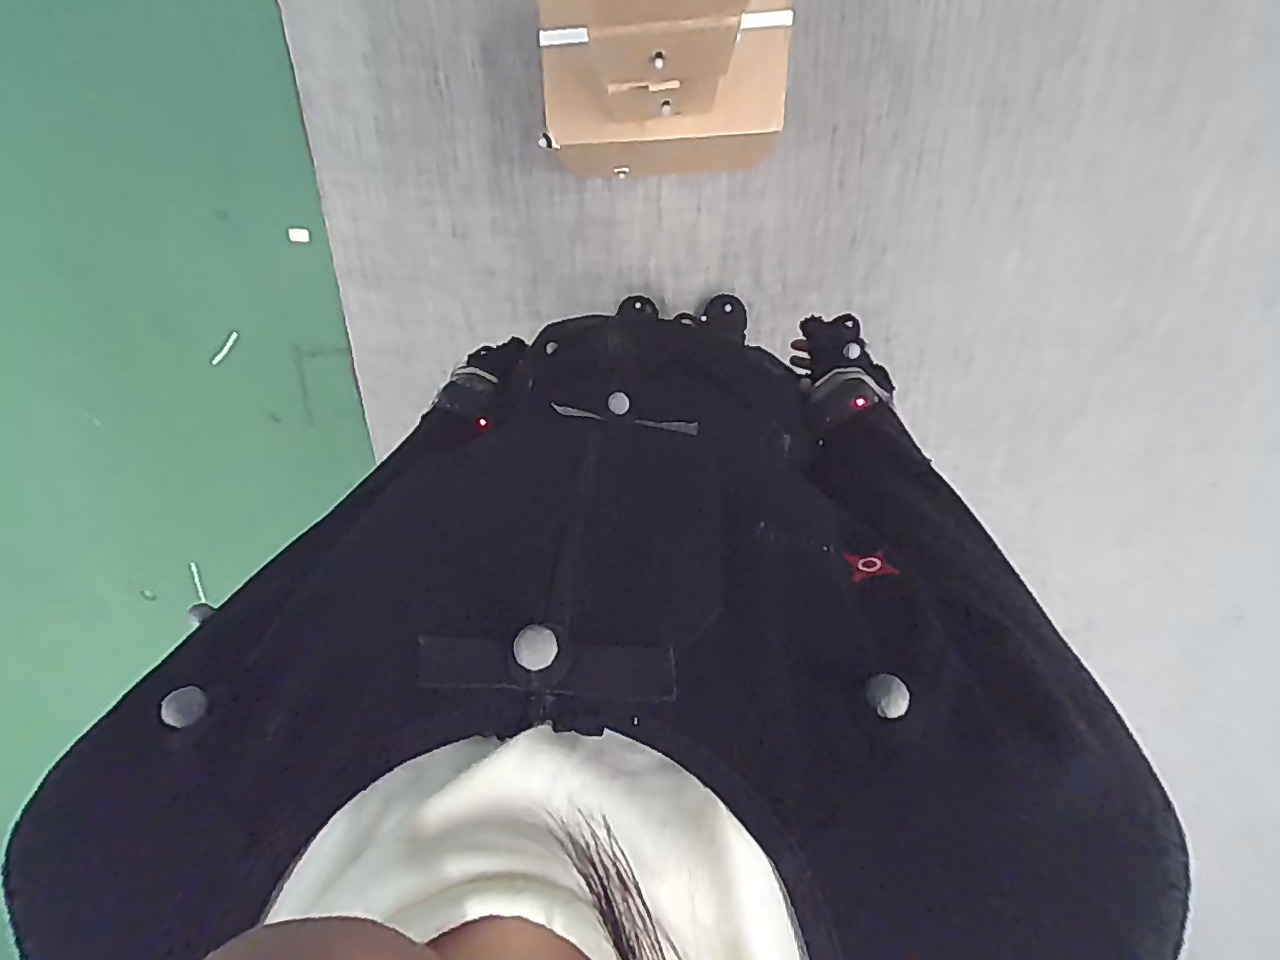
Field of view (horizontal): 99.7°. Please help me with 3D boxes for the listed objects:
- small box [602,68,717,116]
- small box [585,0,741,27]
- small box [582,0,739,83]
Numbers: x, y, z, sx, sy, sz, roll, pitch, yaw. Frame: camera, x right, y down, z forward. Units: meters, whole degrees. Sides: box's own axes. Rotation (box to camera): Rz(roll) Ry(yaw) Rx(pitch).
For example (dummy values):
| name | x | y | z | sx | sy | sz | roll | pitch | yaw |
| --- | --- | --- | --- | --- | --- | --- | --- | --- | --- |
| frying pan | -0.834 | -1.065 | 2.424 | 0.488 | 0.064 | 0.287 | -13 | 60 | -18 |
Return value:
| name | x | y | z | sx | sy | sz | roll | pitch | yaw |
| --- | --- | --- | --- | --- | --- | --- | --- | --- | --- |
| small box | 0.026 | -0.667 | 0.808 | 0.168 | 0.176 | 0.179 | -5 | 111 | 5 |
| small box | 0.020 | -0.557 | 0.501 | 0.179 | 0.176 | 0.168 | -4 | 112 | 4 |
| small box | 0.024 | -0.608 | 0.654 | 0.179 | 0.176 | 0.168 | -1 | 110 | 5 |
